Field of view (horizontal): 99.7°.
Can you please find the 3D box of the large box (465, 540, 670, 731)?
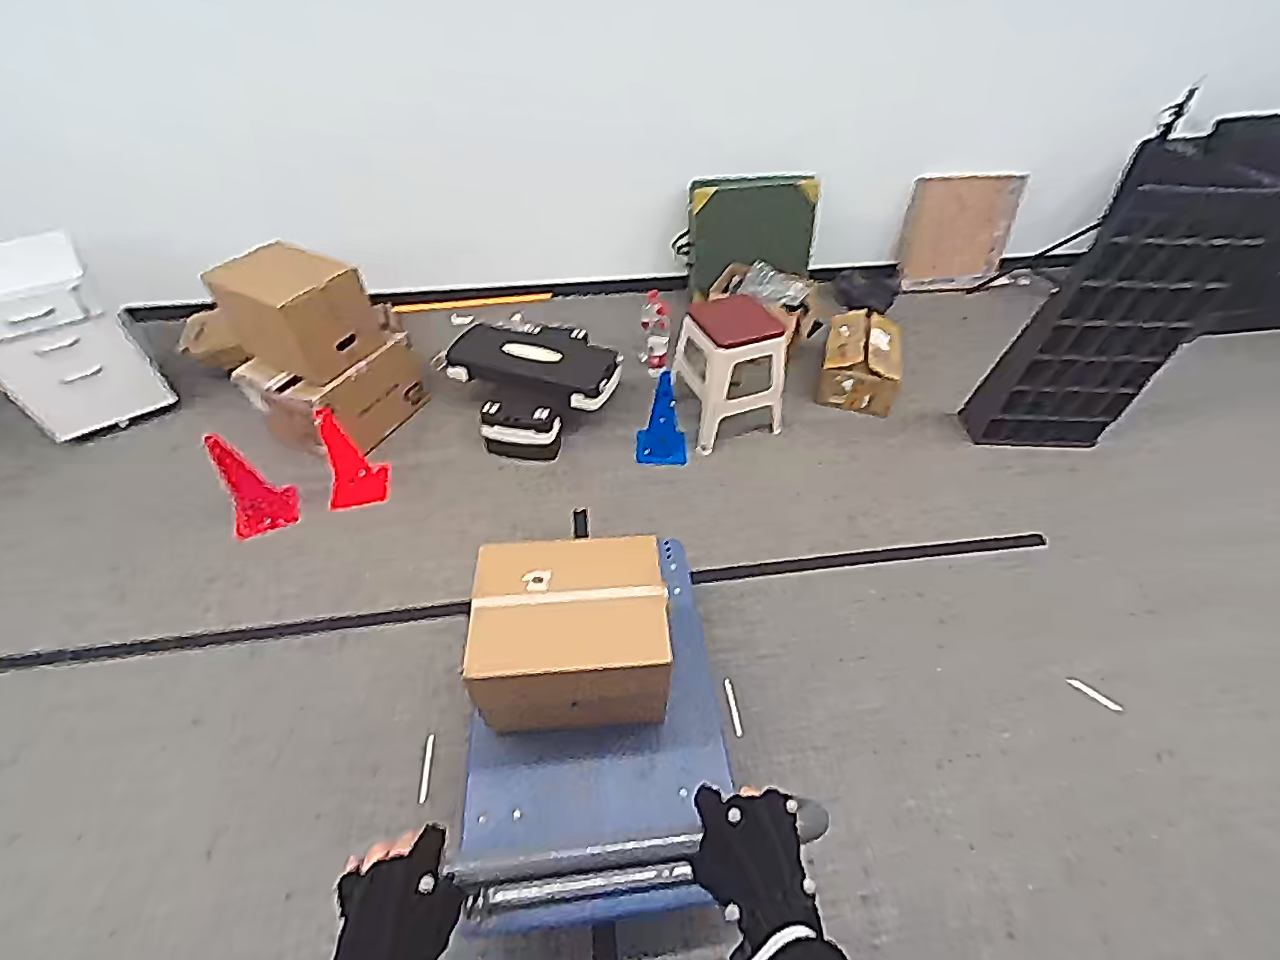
[{"bbox_3d":[-0.153,0.365,1.259,0.408,0.320,0.320,-3,47,-3],"label":"large box"}]
